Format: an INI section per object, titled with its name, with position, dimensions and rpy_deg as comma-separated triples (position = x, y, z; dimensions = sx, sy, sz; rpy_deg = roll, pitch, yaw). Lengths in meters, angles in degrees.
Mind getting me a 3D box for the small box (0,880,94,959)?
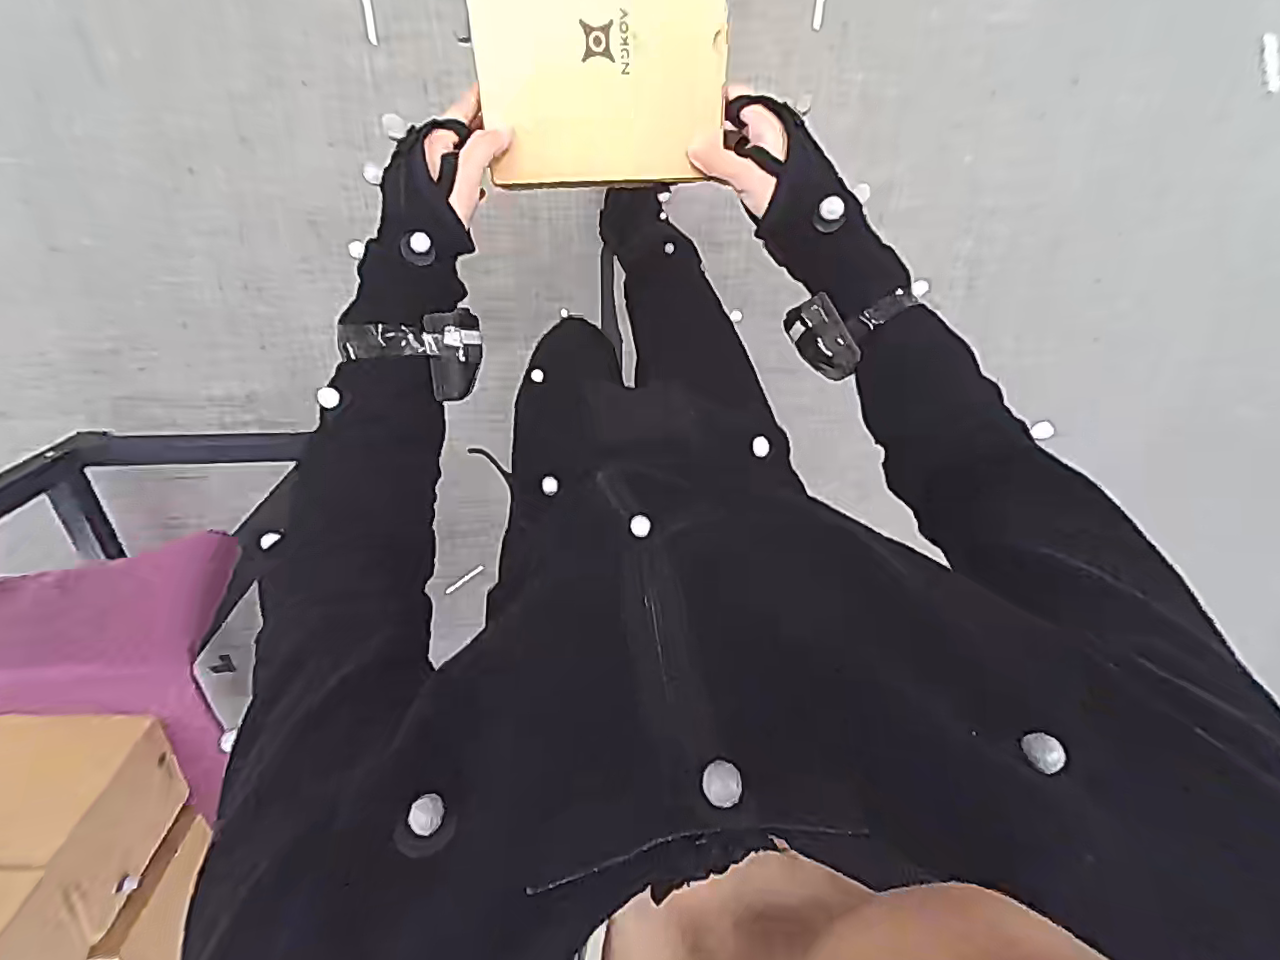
[small box]
position = -0.646, 0.473, 0.471
dimensions = 0.168, 0.176, 0.179
rpy_deg = 10, 119, -11
